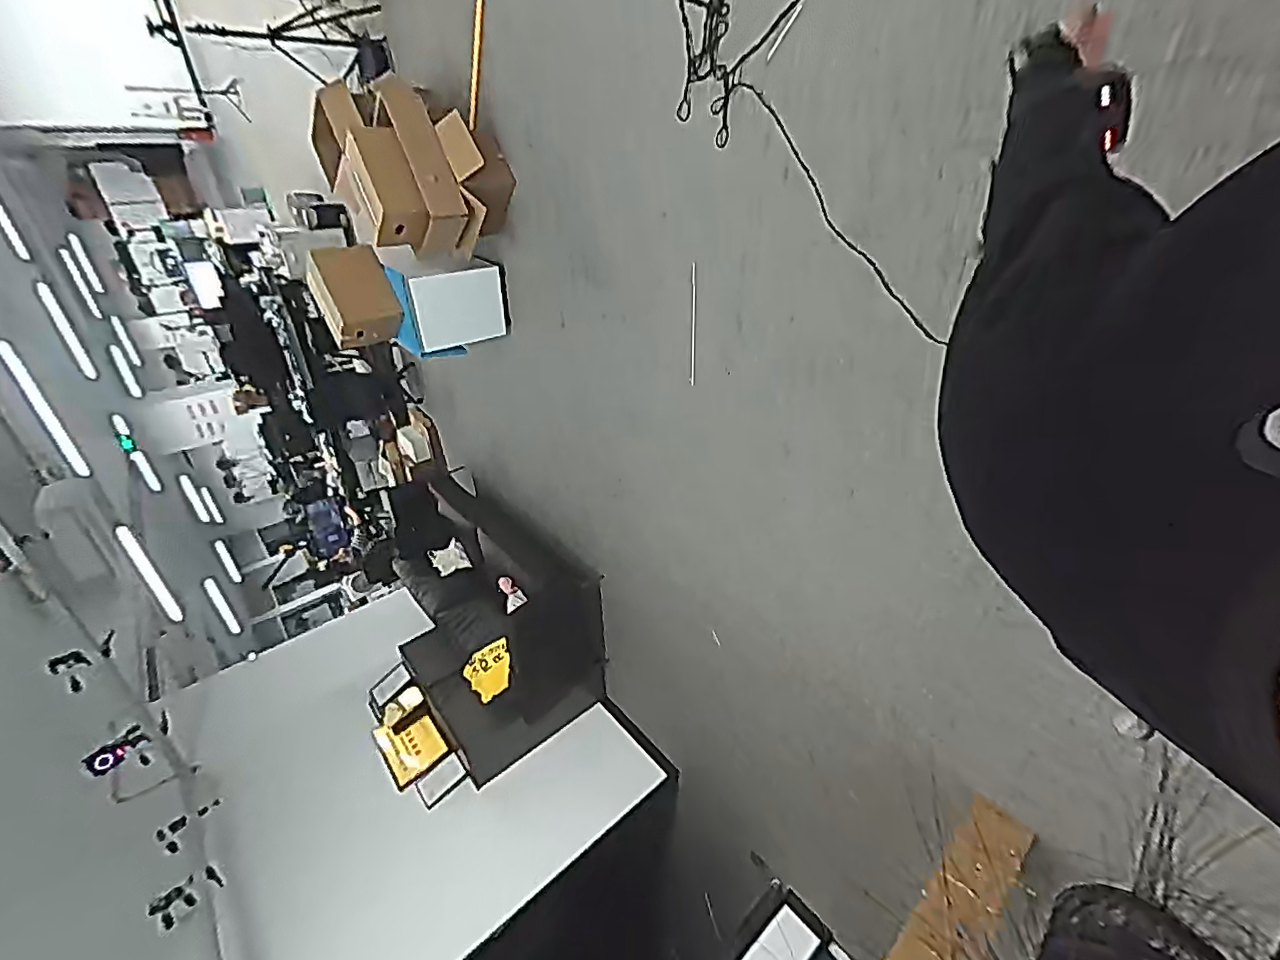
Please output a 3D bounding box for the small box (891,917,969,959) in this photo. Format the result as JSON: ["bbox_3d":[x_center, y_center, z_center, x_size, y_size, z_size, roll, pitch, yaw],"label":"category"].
[{"bbox_3d":[0.806,1.392,1.512,0.168,0.176,0.179,27,131,43],"label":"small box"}]

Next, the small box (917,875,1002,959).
[{"bbox_3d":[0.933,1.335,1.601,0.179,0.176,0.168,29,133,43],"label":"small box"}]

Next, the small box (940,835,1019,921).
[{"bbox_3d":[1.052,1.269,1.693,0.168,0.176,0.179,28,132,43],"label":"small box"}]
